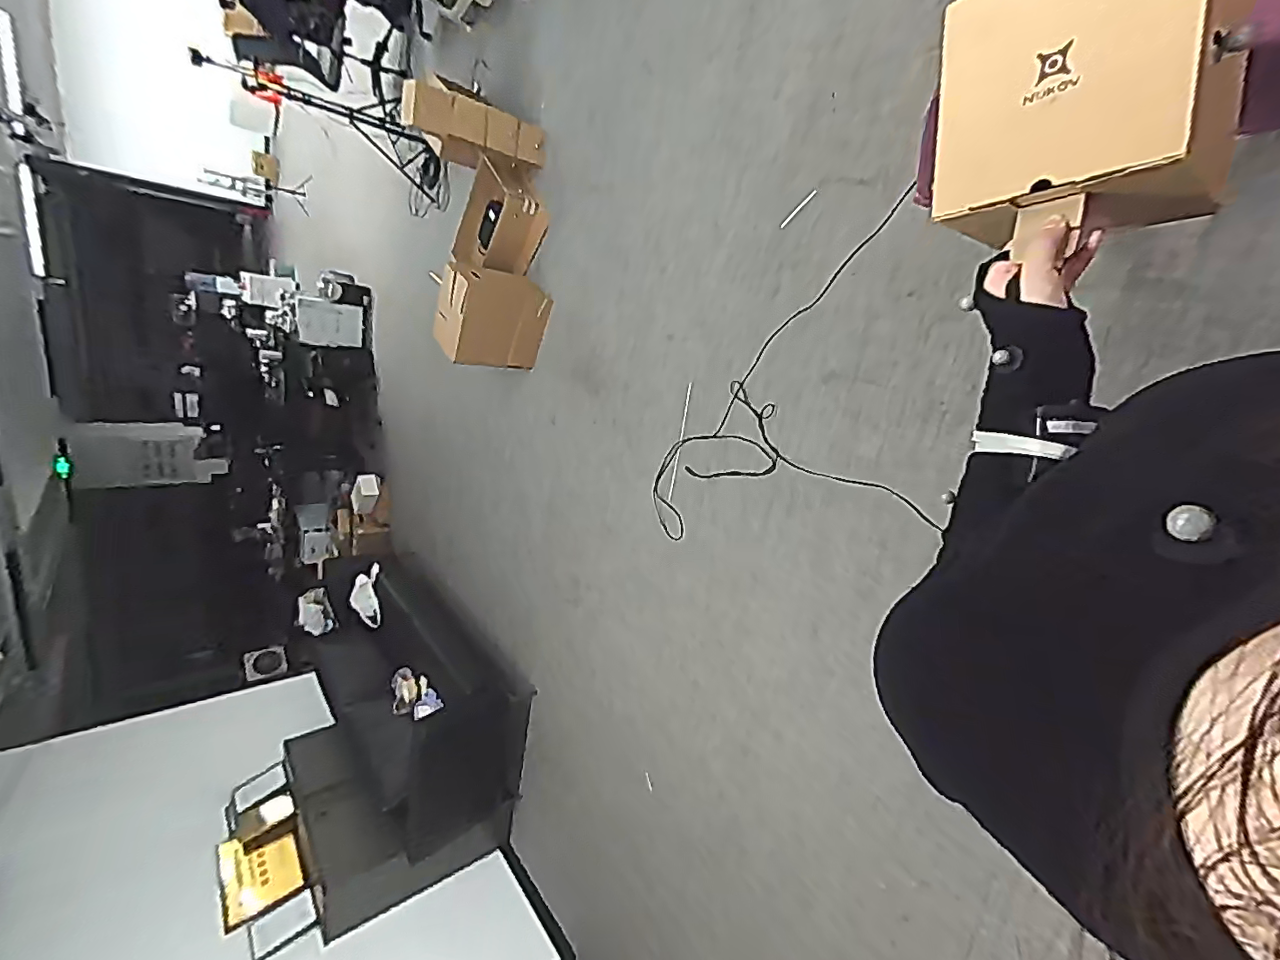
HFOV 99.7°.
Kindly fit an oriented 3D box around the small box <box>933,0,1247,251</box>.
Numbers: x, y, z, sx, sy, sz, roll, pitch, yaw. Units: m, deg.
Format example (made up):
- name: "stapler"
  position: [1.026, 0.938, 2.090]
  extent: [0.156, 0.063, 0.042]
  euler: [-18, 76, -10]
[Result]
- name: "small box"
  position: [0.377, -0.313, 0.458]
  extent: [0.168, 0.176, 0.179]
  euler: [11, 104, 51]
